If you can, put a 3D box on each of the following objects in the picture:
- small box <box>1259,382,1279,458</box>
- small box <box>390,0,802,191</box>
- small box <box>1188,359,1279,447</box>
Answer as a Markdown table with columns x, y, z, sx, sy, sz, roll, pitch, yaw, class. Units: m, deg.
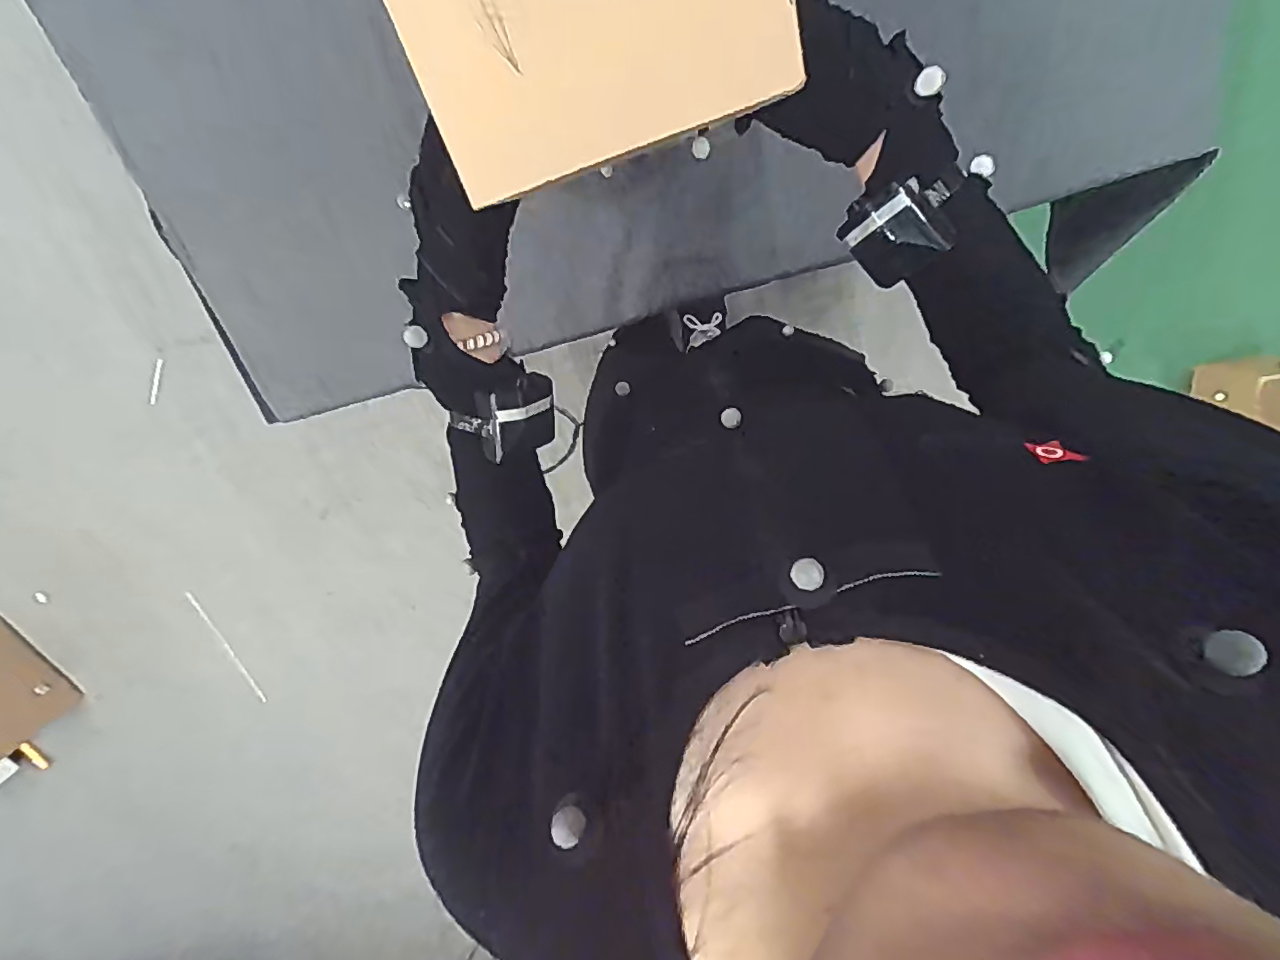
| x | y | z | sx | sy | sz | roll | pitch | yaw | class |
| --- | --- | --- | --- | --- | --- | --- | --- | --- | --- |
| 1.518 | -0.127 | 1.169 | 0.168 | 0.176 | 0.179 | -10 | 110 | 6 | small box |
| -0.032 | -0.275 | 0.295 | 0.179 | 0.176 | 0.168 | -16 | 118 | 6 | small box |
| 1.511 | -0.192 | 1.321 | 0.179 | 0.176 | 0.168 | -9 | 110 | 5 | small box |
